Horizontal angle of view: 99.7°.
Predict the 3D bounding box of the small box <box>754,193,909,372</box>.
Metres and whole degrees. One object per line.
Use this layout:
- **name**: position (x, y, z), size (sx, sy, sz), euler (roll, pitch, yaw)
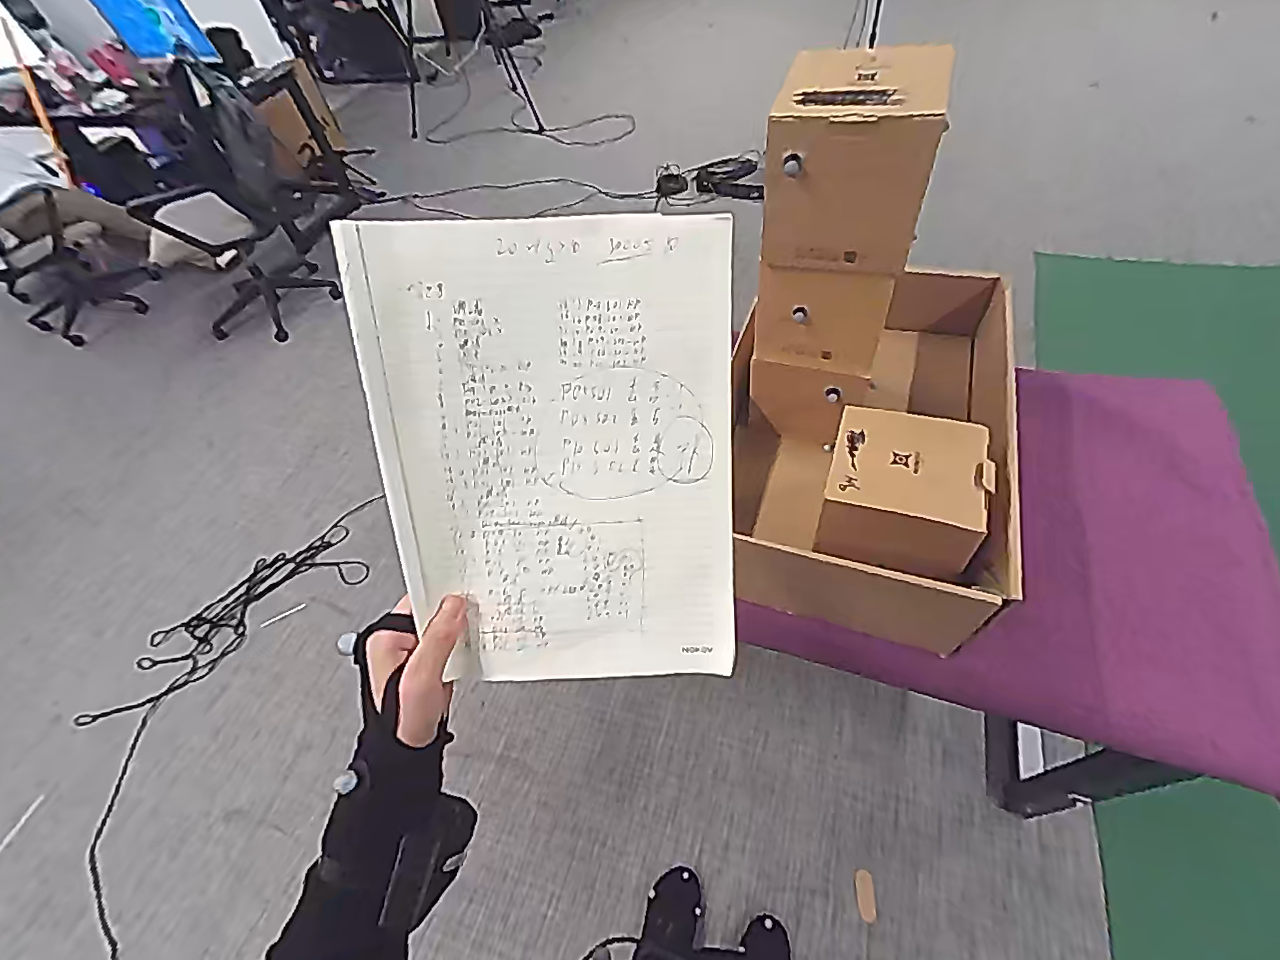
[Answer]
- **small box**: position (0.264, -0.277, 0.767), size (0.168, 0.176, 0.179), euler (14, 58, 19)
